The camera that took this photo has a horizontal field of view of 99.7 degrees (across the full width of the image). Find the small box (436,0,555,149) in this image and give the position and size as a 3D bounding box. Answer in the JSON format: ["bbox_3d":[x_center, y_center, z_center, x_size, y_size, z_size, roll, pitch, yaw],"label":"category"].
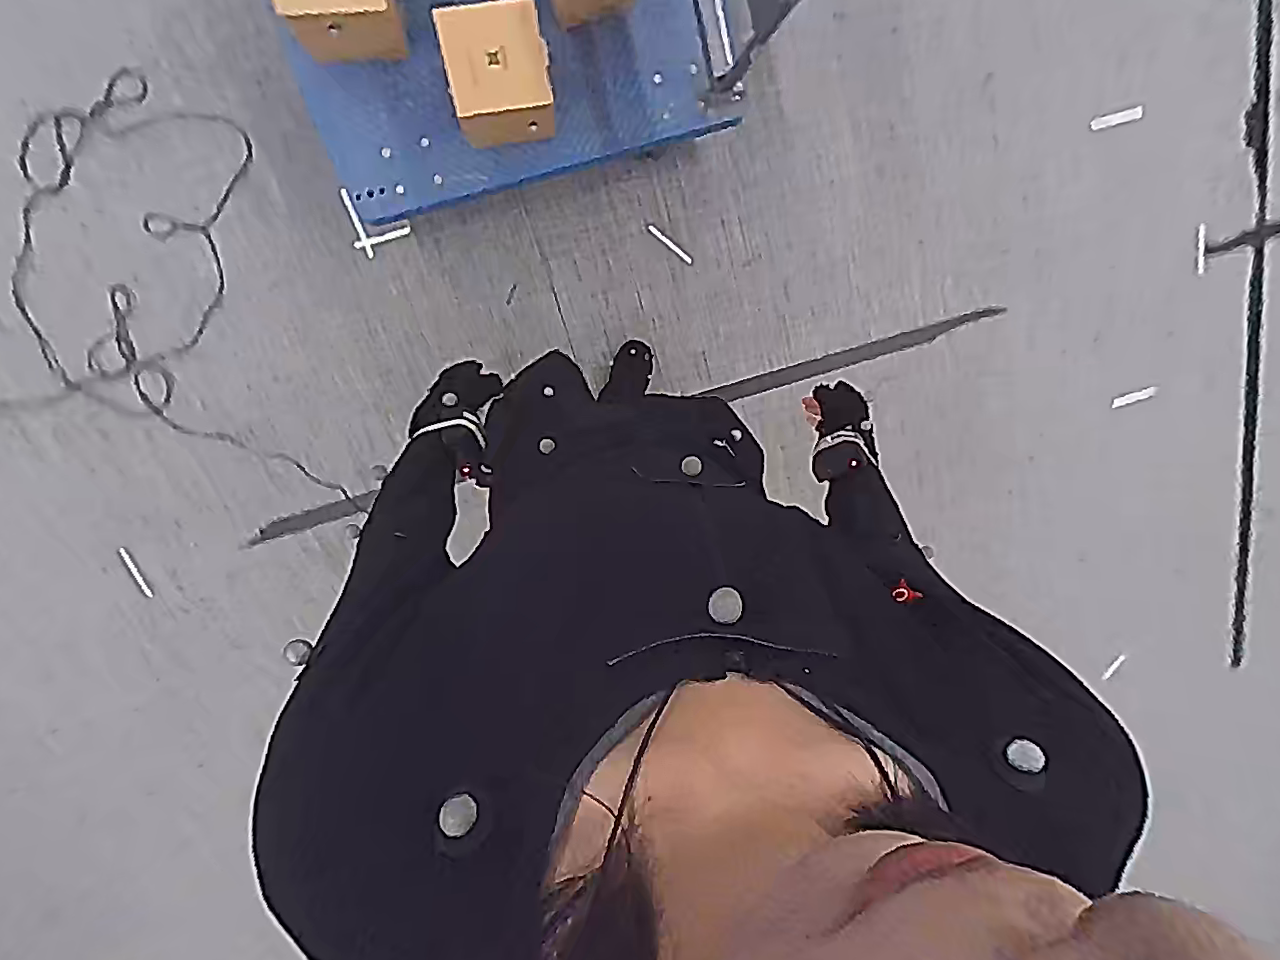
[{"bbox_3d":[-0.262,-0.754,1.022,0.179,0.176,0.168,-11,105,-4],"label":"small box"}]

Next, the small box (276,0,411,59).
[{"bbox_3d":[-0.525,-0.871,0.946,0.179,0.176,0.168,-8,106,-8],"label":"small box"}]

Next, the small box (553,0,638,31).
[{"bbox_3d":[-0.096,-0.983,0.986,0.168,0.176,0.179,-21,106,-2],"label":"small box"}]
